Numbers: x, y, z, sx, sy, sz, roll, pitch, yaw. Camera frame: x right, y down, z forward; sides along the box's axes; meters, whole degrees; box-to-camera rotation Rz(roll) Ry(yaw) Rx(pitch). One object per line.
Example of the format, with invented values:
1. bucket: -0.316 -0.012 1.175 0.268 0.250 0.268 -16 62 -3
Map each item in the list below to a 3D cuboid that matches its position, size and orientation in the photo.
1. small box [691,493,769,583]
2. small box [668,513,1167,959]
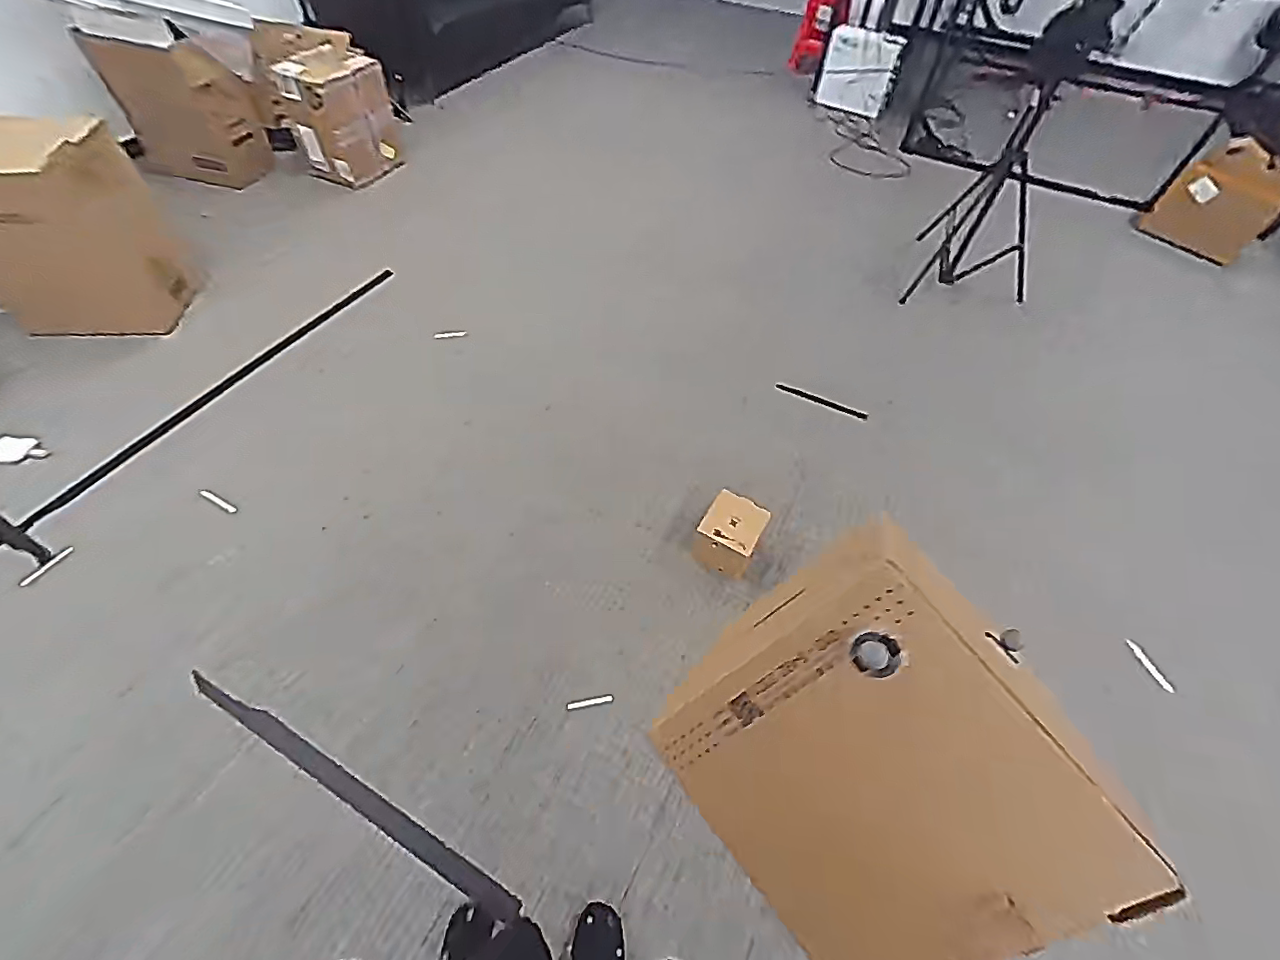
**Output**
1. small box: 0.267 0.178 1.646 0.168 0.176 0.179 28 57 16
2. small box: 0.144 0.140 0.340 0.176 0.168 0.179 52 21 11
